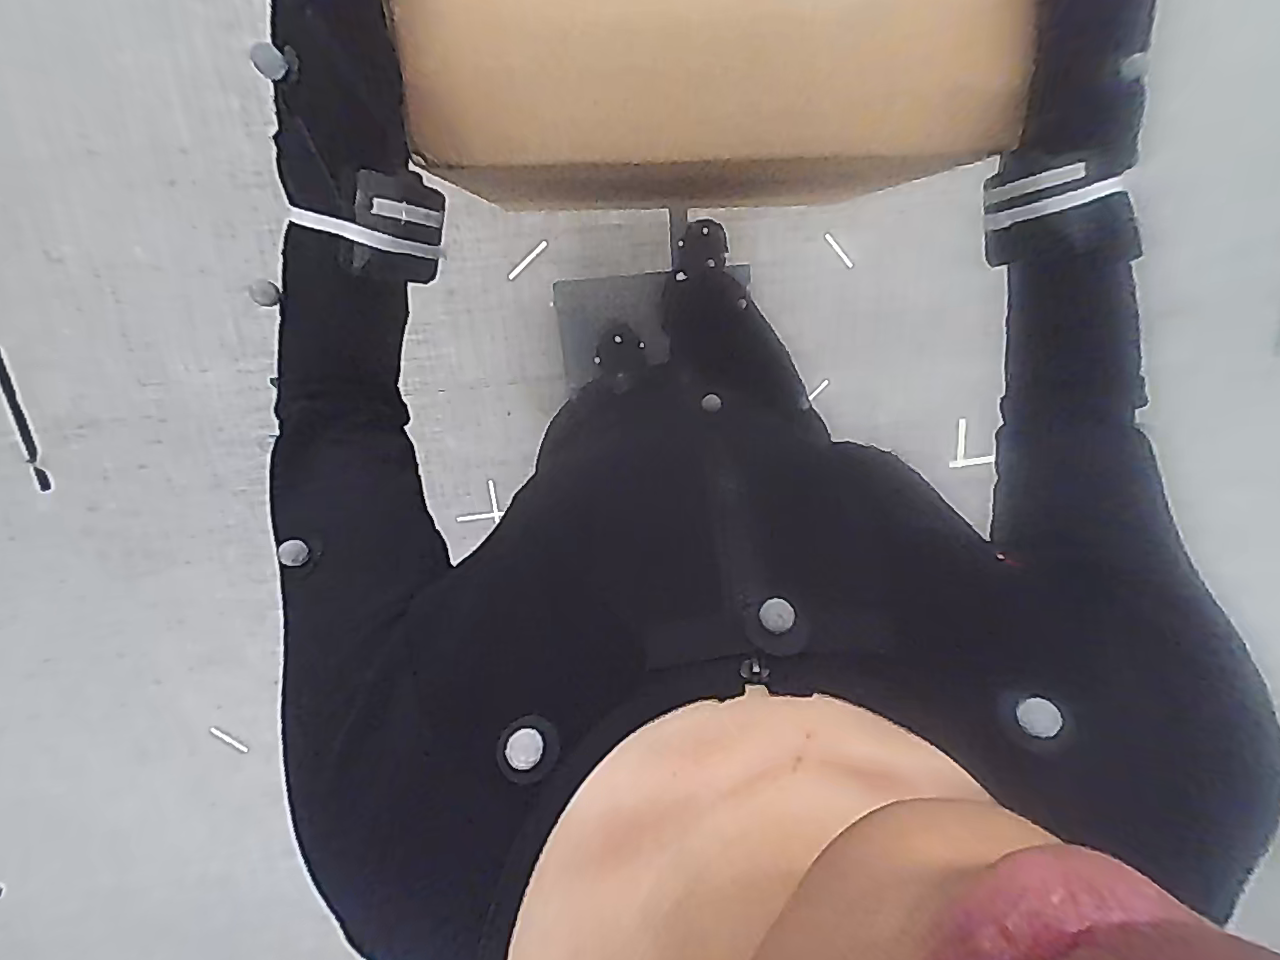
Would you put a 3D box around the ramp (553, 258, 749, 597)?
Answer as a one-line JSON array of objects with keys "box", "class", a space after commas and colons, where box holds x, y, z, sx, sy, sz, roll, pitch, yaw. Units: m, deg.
[{"box": [0.070, -0.084, 1.553, 0.509, 0.206, 0.991, -8, 107, -2], "class": "ramp"}]

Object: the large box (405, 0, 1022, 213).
[{"box": [0.039, -0.422, 0.458, 0.408, 0.320, 0.320, -3, 111, -2], "class": "large box"}]
